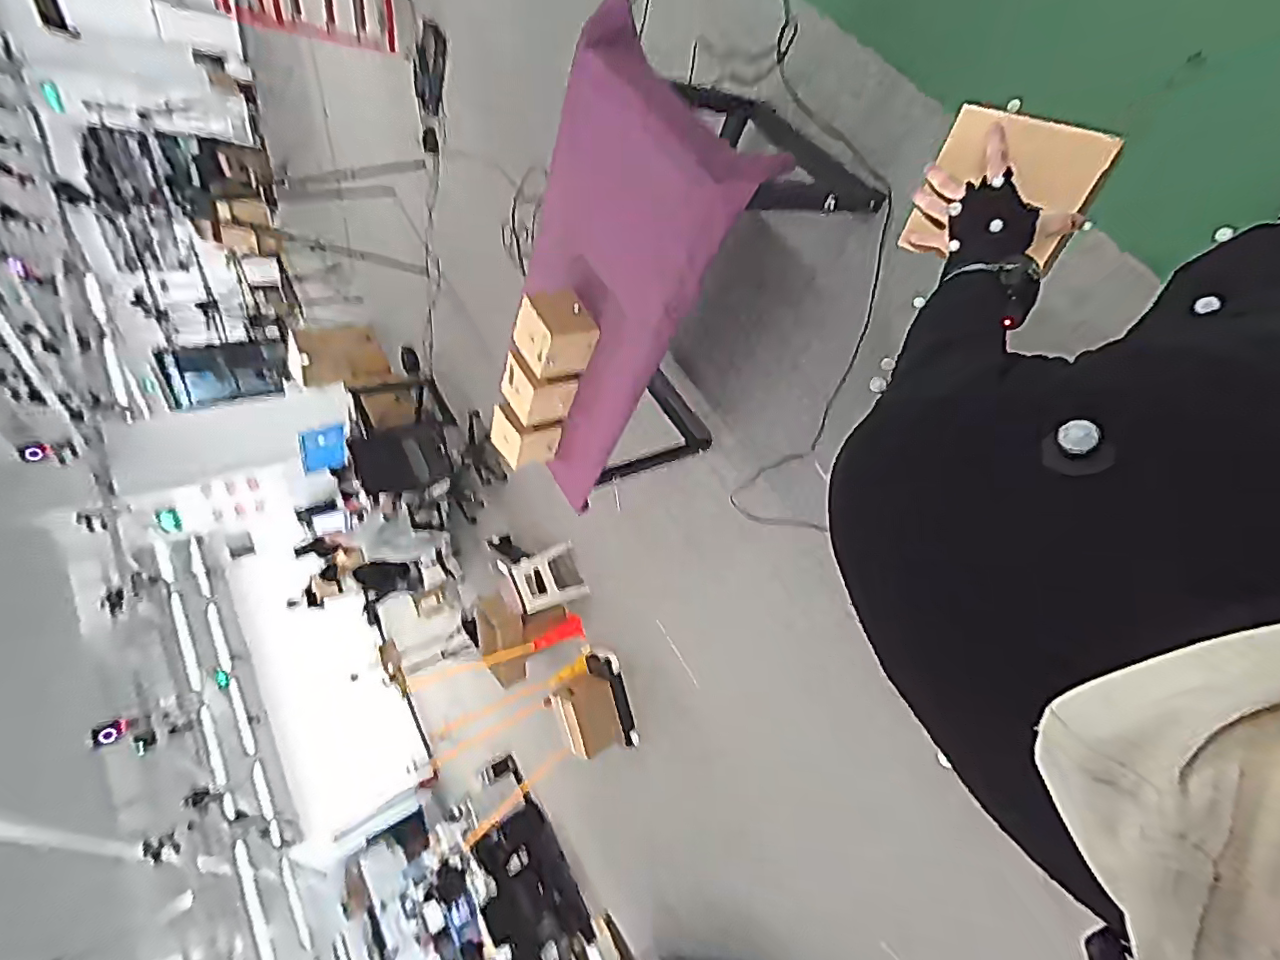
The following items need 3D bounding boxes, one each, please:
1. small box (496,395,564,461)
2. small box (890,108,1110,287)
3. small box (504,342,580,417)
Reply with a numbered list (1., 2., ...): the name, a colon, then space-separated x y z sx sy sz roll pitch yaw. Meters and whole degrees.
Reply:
1. small box: -0.398 -0.200 1.952 0.179 0.176 0.168 52 142 24
2. small box: 0.478 -0.372 0.724 0.179 0.176 0.168 34 129 25
3. small box: -0.325 -0.338 1.786 0.179 0.176 0.168 55 142 20
